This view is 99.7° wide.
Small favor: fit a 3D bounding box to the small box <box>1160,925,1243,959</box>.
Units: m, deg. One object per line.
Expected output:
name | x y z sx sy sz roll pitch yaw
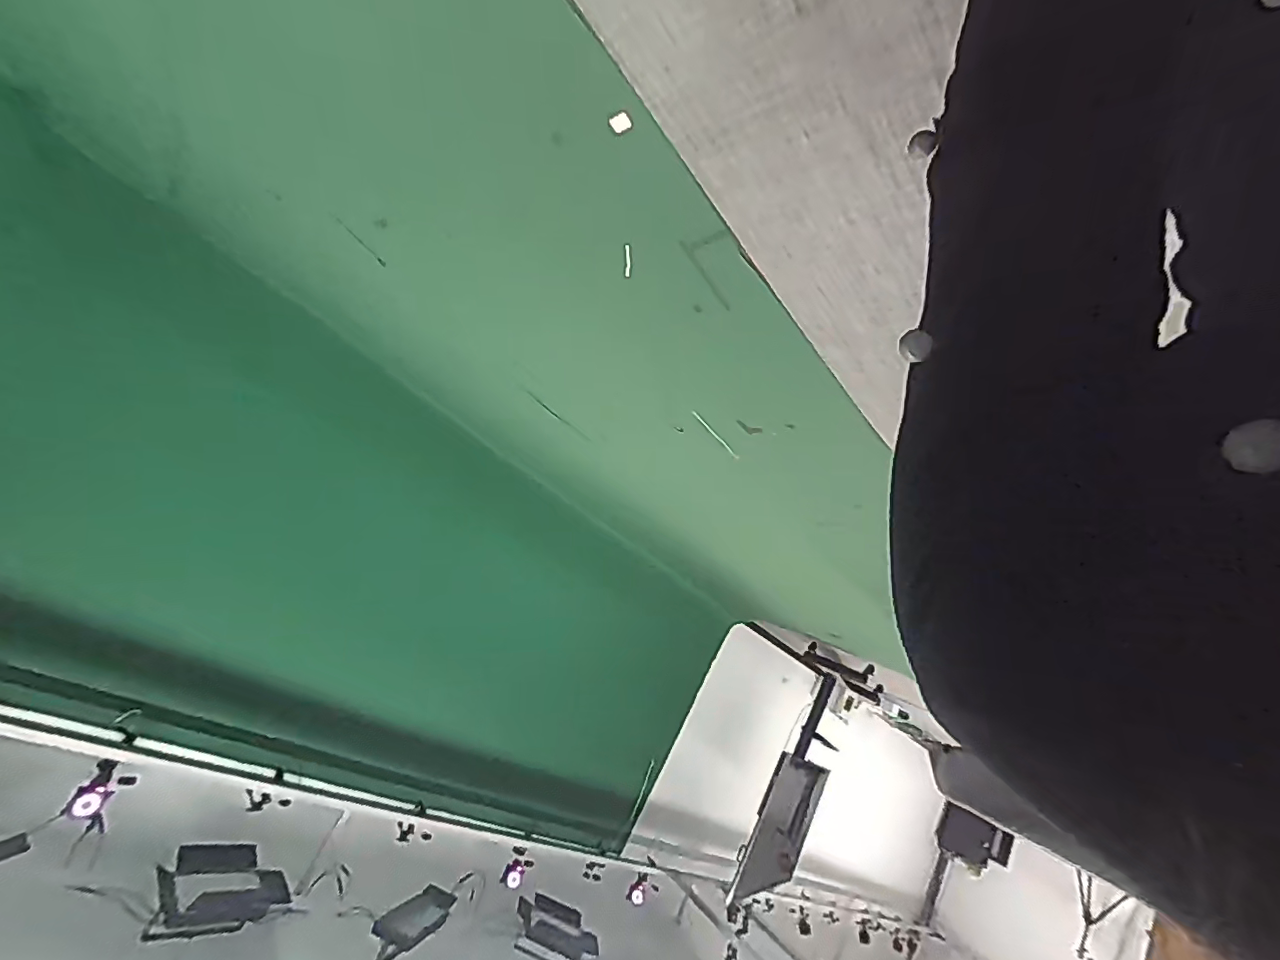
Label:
small box | 1.564 1.369 1.489 0.168 0.176 0.179 39 163 -34
